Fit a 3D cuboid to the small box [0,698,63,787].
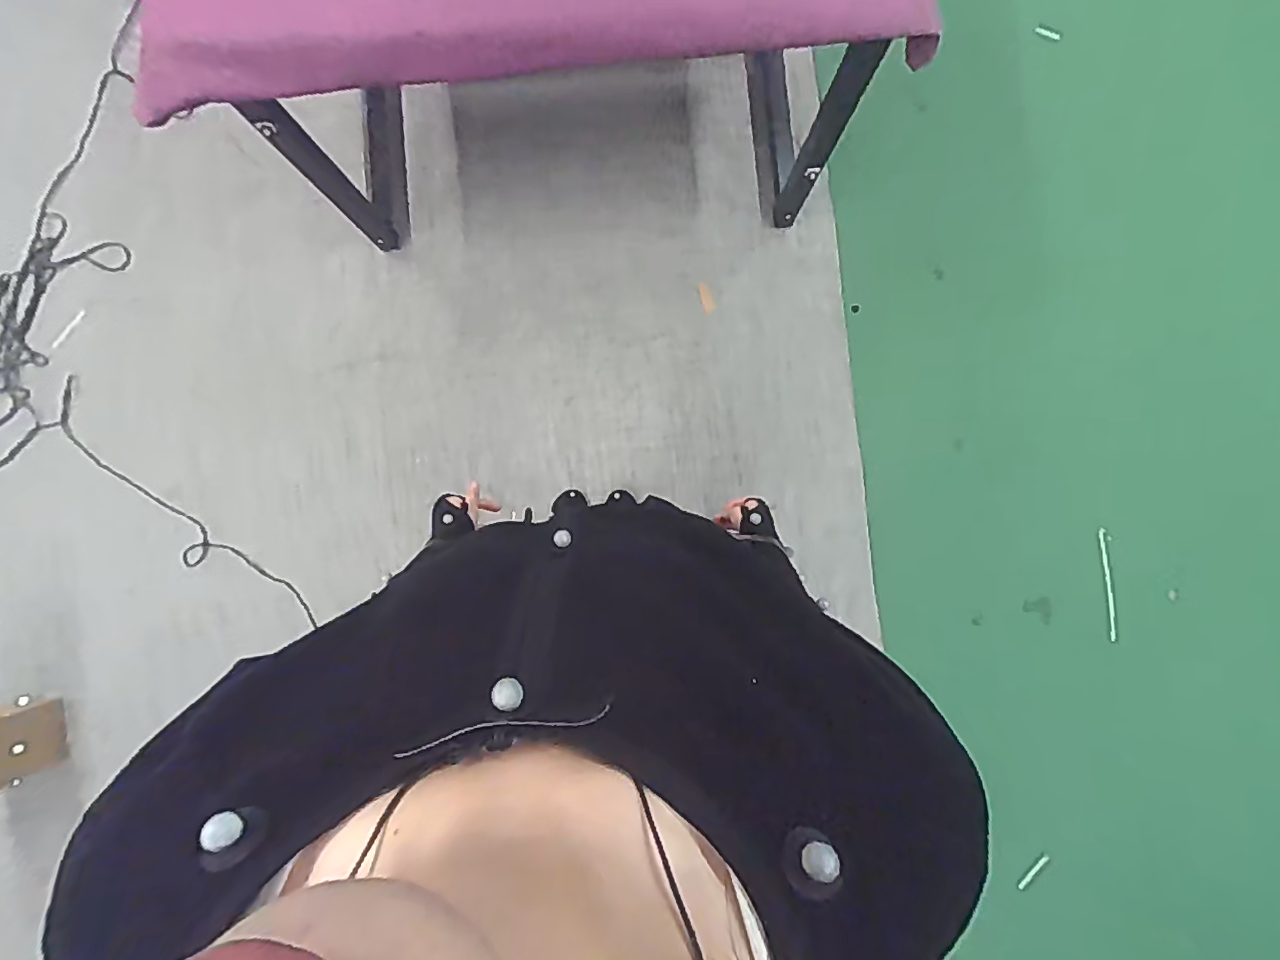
[{"bbox_3d":[-1.670,0.692,1.408,0.168,0.176,0.179,-7,87,-1],"label":"small box"}]
